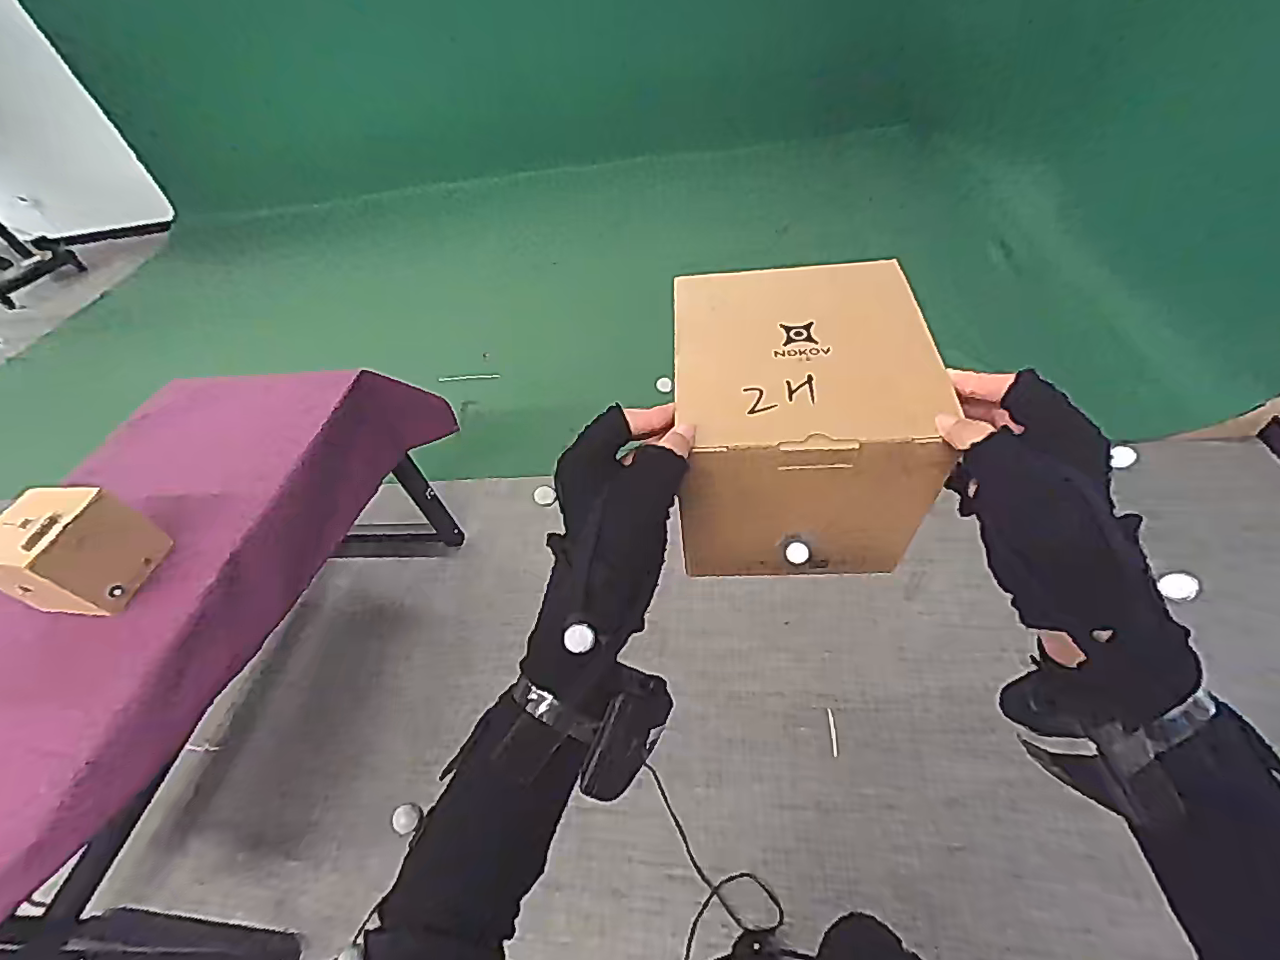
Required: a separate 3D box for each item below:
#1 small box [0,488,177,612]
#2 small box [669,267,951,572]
[{"bbox_3d":[-1.026,0.131,0.995,0.179,0.176,0.168,0,49,12],"label":"small box"},{"bbox_3d":[0.111,-0.043,0.432,0.168,0.176,0.179,-2,53,7],"label":"small box"}]
